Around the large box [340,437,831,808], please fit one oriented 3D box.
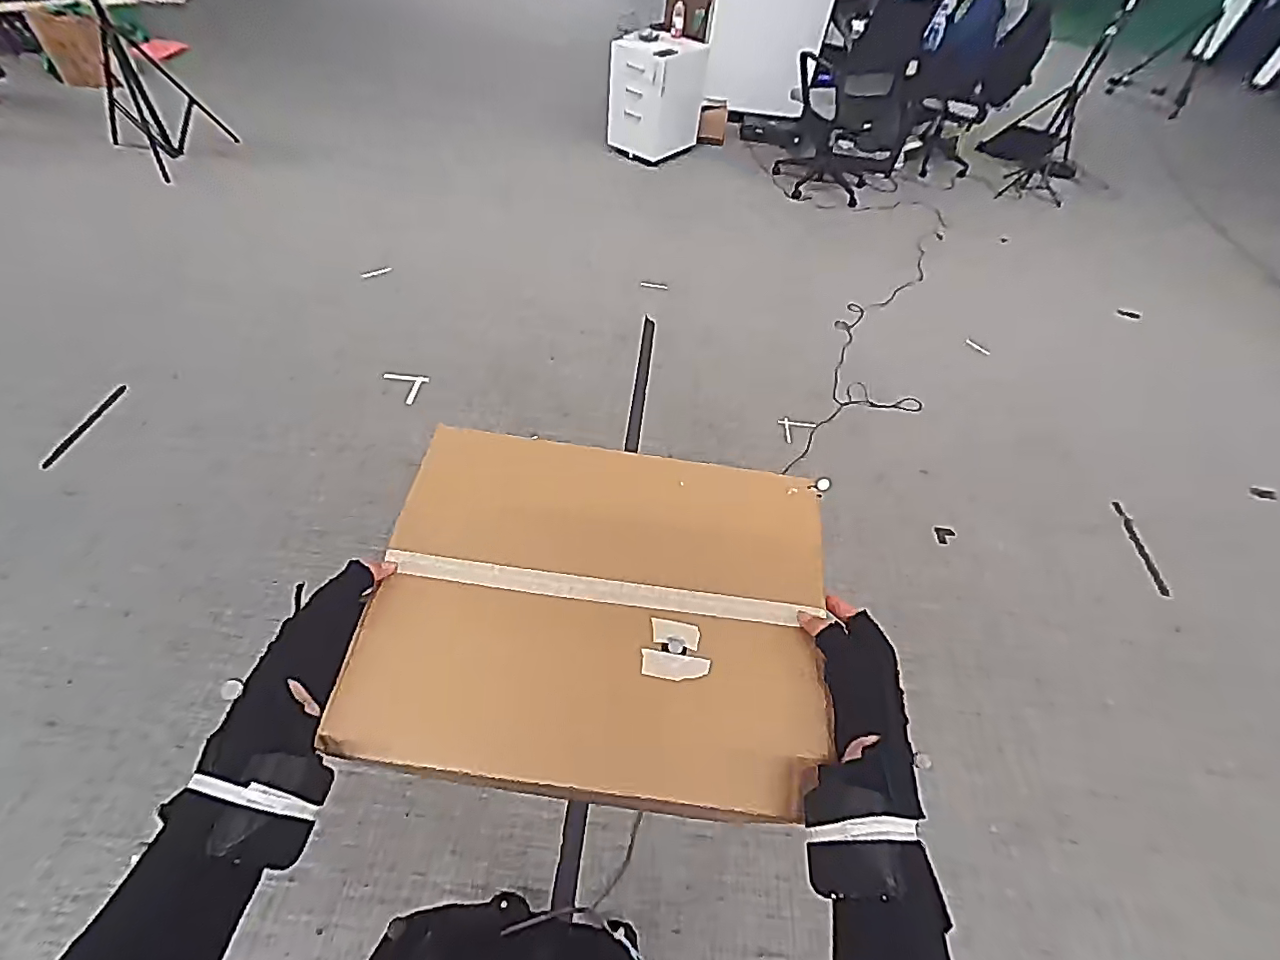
[{"bbox_3d":[-0.042,0.183,0.632,0.408,0.320,0.320,8,59,-1],"label":"large box"}]
